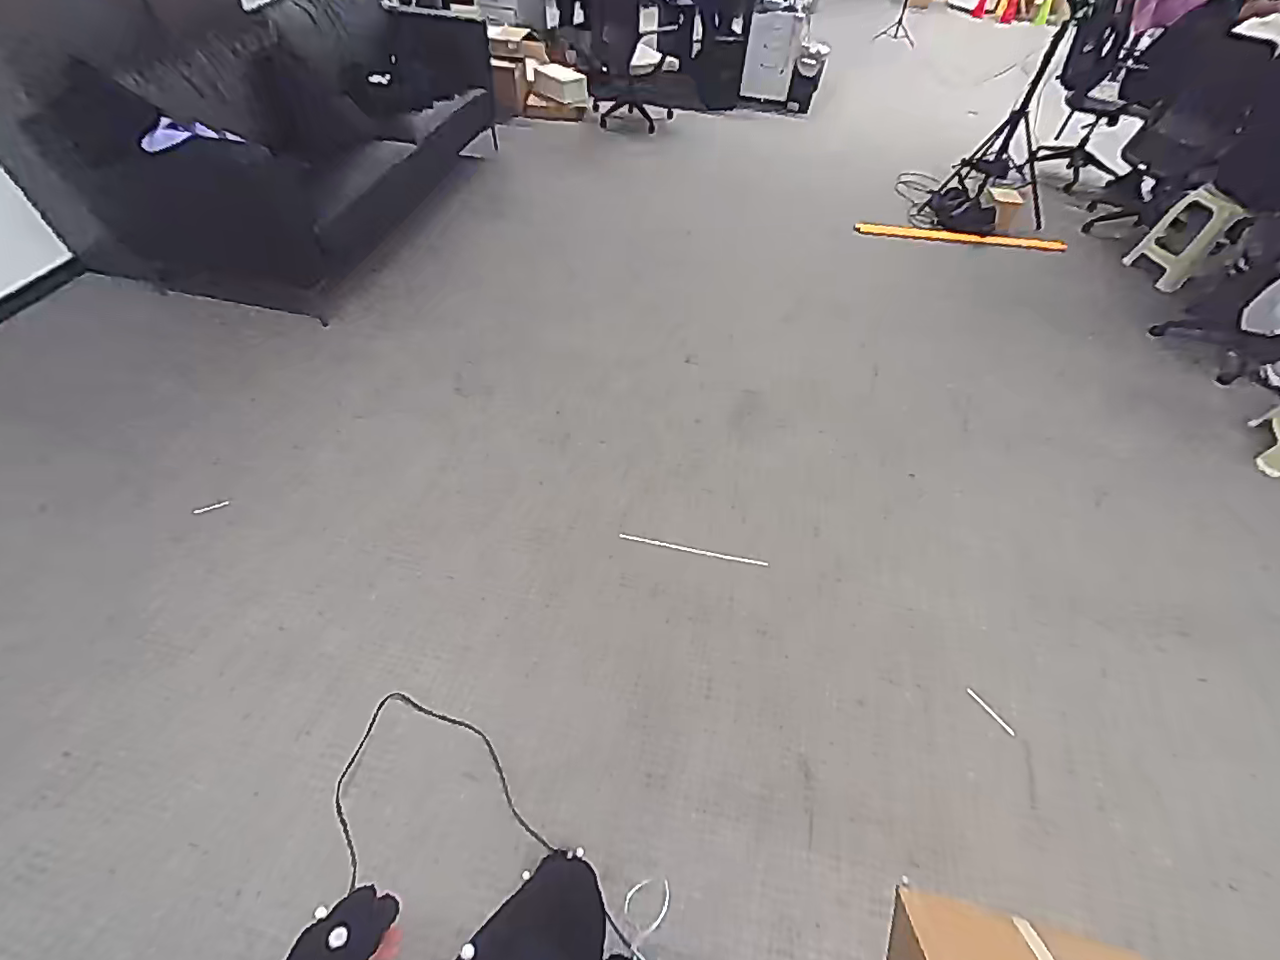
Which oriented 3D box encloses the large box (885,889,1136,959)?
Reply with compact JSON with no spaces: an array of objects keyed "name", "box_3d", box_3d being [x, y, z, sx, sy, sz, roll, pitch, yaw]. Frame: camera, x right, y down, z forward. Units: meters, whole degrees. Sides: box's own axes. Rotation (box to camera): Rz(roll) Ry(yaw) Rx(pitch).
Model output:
[{"name":"large box","box_3d":[0.460,0.759,0.564,0.320,0.408,0.320,10,90,11]}]
